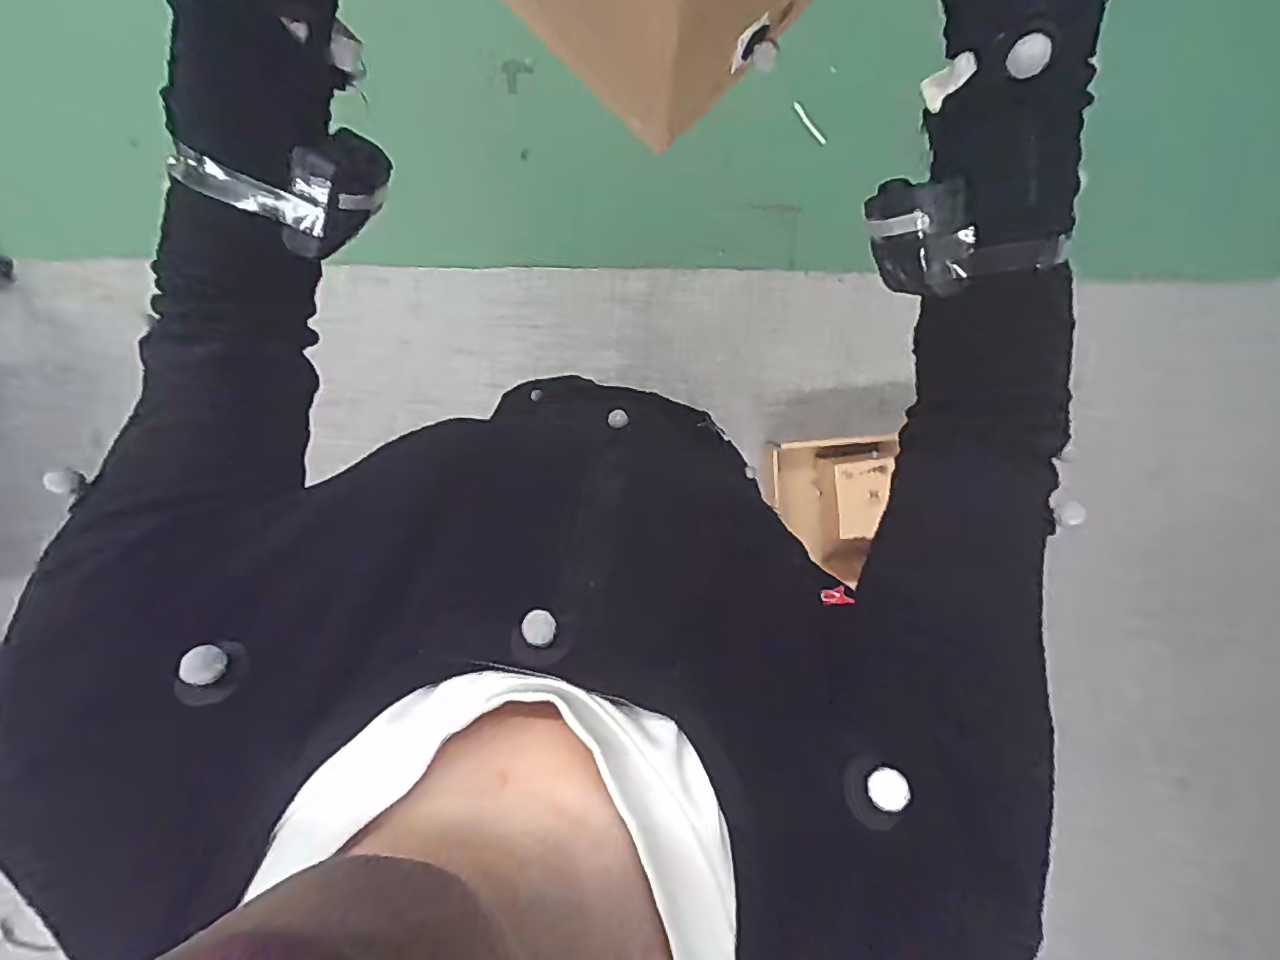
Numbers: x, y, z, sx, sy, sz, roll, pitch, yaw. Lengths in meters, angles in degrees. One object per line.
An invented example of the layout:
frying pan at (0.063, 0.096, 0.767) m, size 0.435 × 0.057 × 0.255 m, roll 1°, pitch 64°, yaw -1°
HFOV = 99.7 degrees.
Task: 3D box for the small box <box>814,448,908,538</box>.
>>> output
small box at (0.531, 0.026, 1.313) m, size 0.168 × 0.176 × 0.179 m, roll -7°, pitch 100°, yaw 3°

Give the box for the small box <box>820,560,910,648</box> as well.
small box at (0.555, 0.303, 1.354) m, size 0.168 × 0.176 × 0.179 m, roll -2°, pitch 98°, yaw 3°
